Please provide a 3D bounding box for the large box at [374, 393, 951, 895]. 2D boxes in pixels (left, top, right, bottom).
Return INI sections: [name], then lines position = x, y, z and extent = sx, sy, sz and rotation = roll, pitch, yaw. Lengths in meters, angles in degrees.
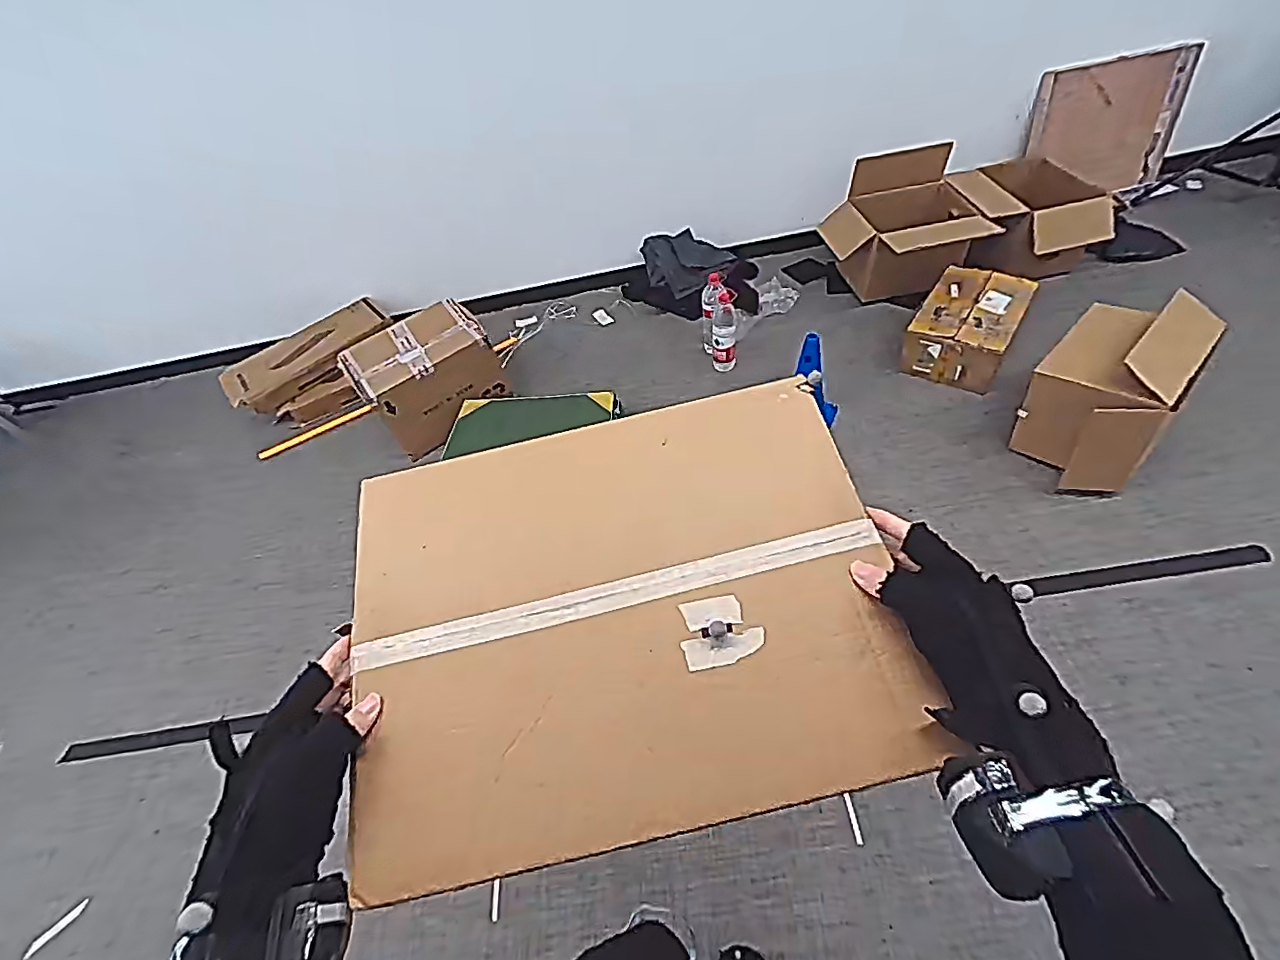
[large box]
position = 0.000, 0.166, 0.557
extent = 0.408, 0.320, 0.320
rotation = -13, 62, -1
